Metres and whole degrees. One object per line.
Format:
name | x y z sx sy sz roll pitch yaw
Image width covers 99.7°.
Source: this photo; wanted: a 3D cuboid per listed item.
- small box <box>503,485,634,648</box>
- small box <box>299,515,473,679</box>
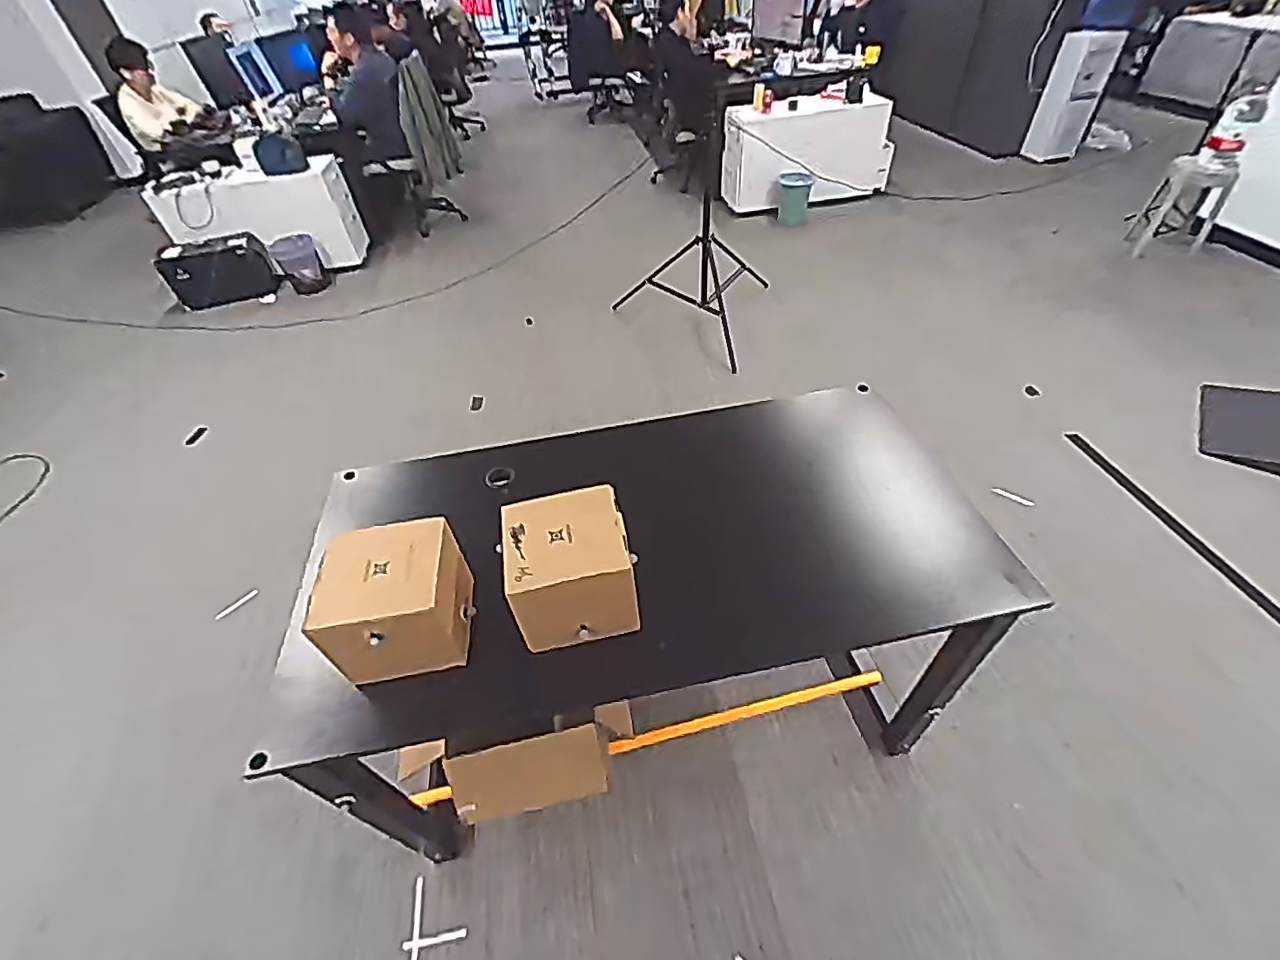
small box | -0.106 0.135 0.837 0.179 0.176 0.168 -11 45 -6
small box | -0.365 0.179 0.816 0.179 0.176 0.168 -9 47 -5
